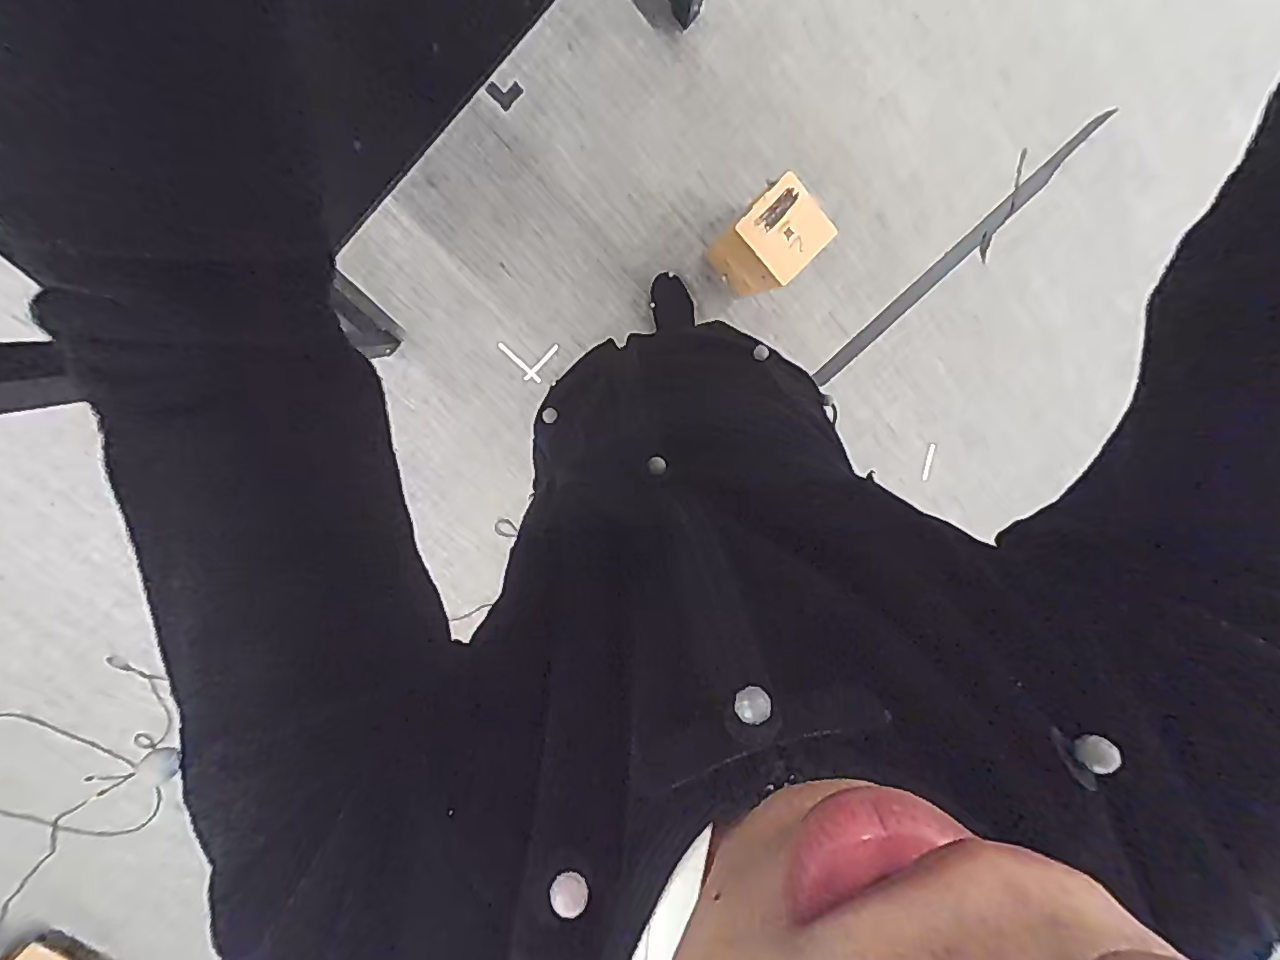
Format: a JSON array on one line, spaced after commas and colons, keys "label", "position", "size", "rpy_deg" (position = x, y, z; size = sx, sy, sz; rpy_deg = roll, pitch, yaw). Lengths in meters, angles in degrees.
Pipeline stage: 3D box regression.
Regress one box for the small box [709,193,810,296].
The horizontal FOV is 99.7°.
[{"label": "small box", "position": [0.303, -0.605, 1.413], "size": [0.168, 0.176, 0.179], "rpy_deg": [42, 100, -13]}]
